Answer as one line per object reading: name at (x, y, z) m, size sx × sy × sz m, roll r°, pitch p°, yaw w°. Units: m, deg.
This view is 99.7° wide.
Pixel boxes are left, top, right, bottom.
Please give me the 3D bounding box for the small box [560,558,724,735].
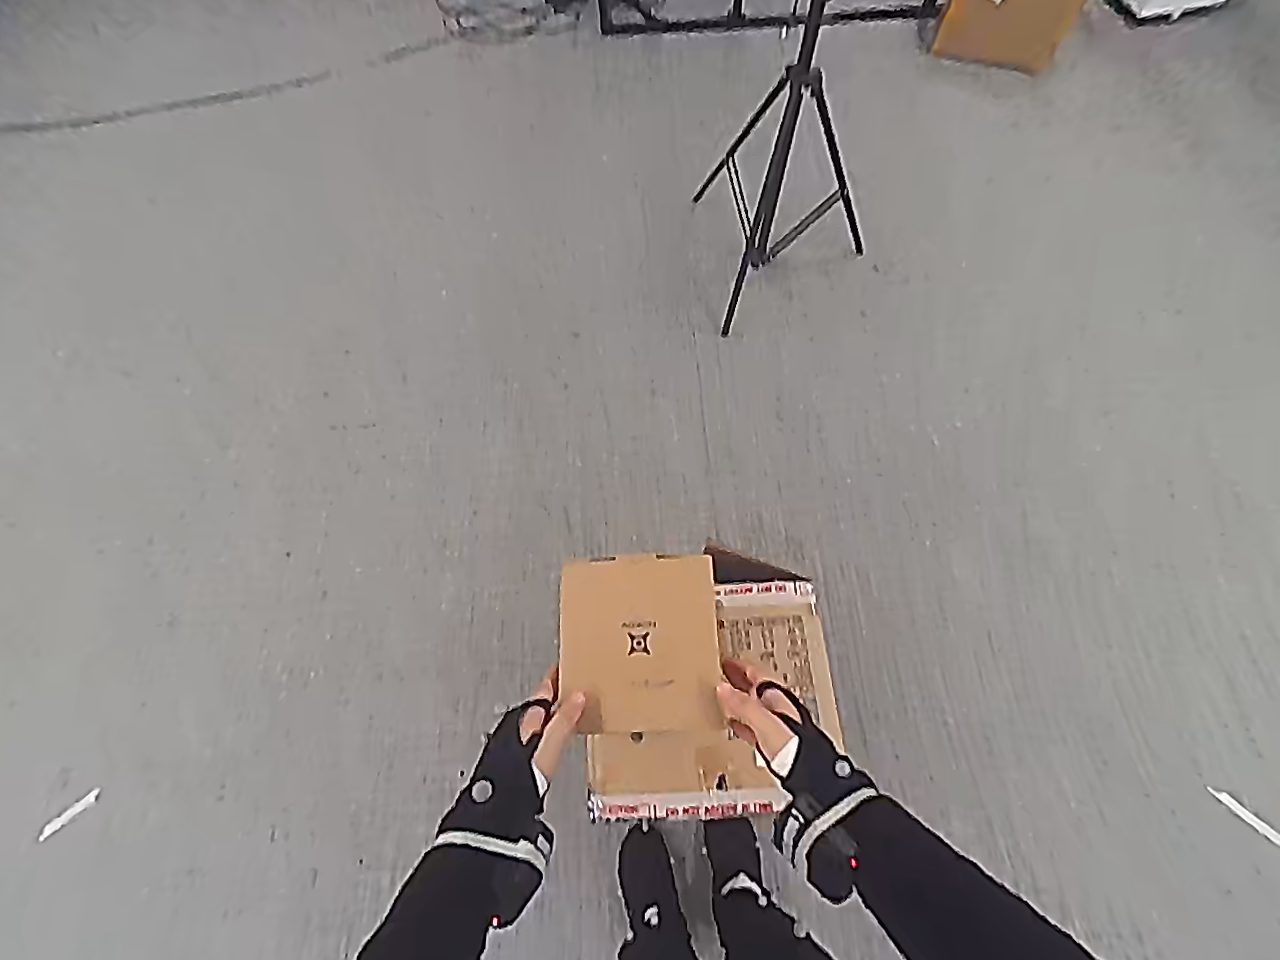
small box at (0.003, 0.199, 0.639) m, size 0.168 × 0.176 × 0.179 m, roll -3°, pitch 69°, yaw 2°
